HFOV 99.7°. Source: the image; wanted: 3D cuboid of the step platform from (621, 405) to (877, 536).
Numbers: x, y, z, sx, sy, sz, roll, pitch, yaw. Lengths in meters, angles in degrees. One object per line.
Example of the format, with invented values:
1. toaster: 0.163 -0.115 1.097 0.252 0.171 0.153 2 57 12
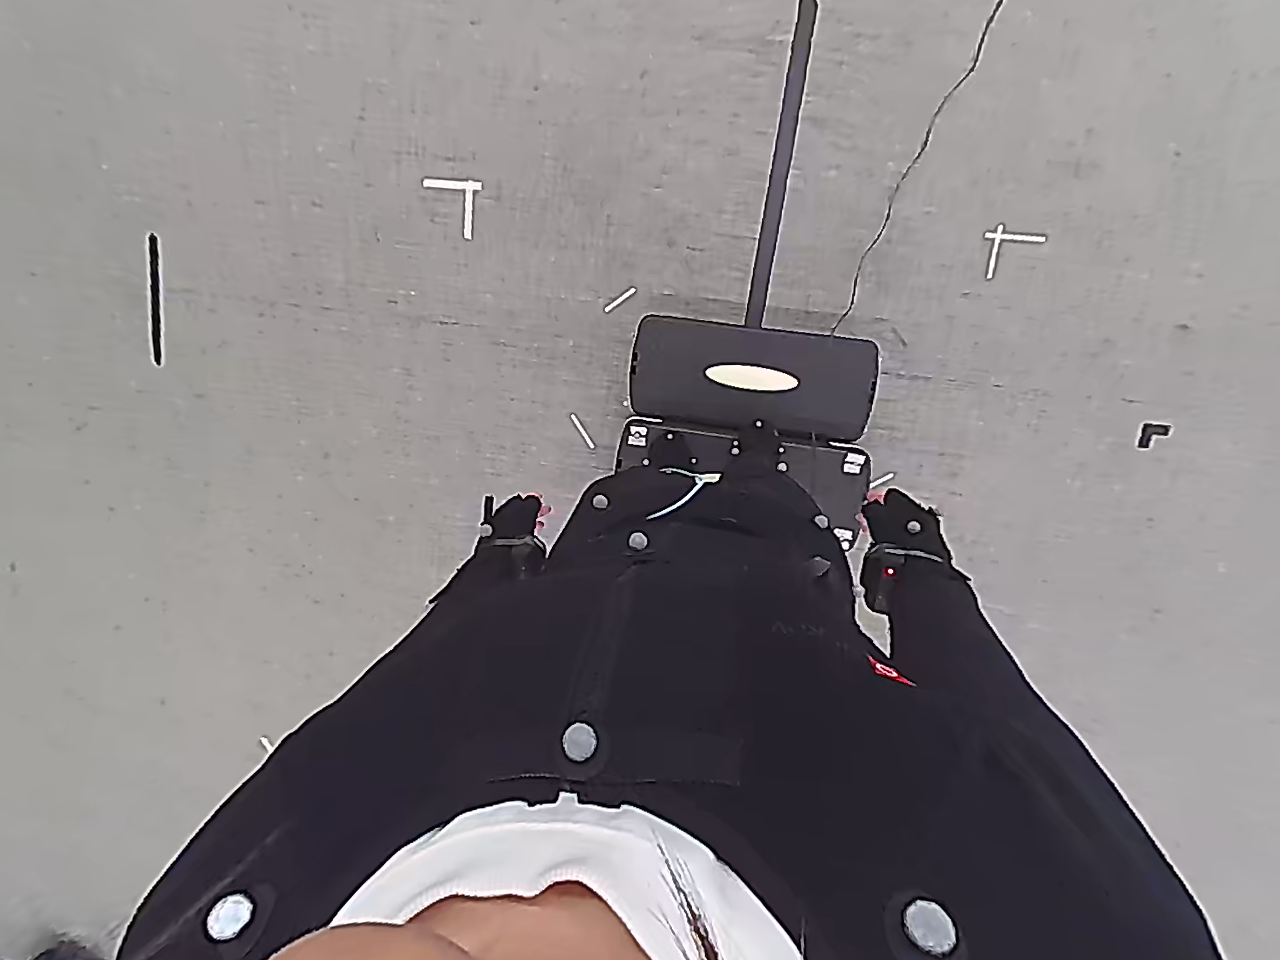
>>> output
1. step platform: 0.288 -0.032 1.507 0.684 0.204 0.286 7 99 5
